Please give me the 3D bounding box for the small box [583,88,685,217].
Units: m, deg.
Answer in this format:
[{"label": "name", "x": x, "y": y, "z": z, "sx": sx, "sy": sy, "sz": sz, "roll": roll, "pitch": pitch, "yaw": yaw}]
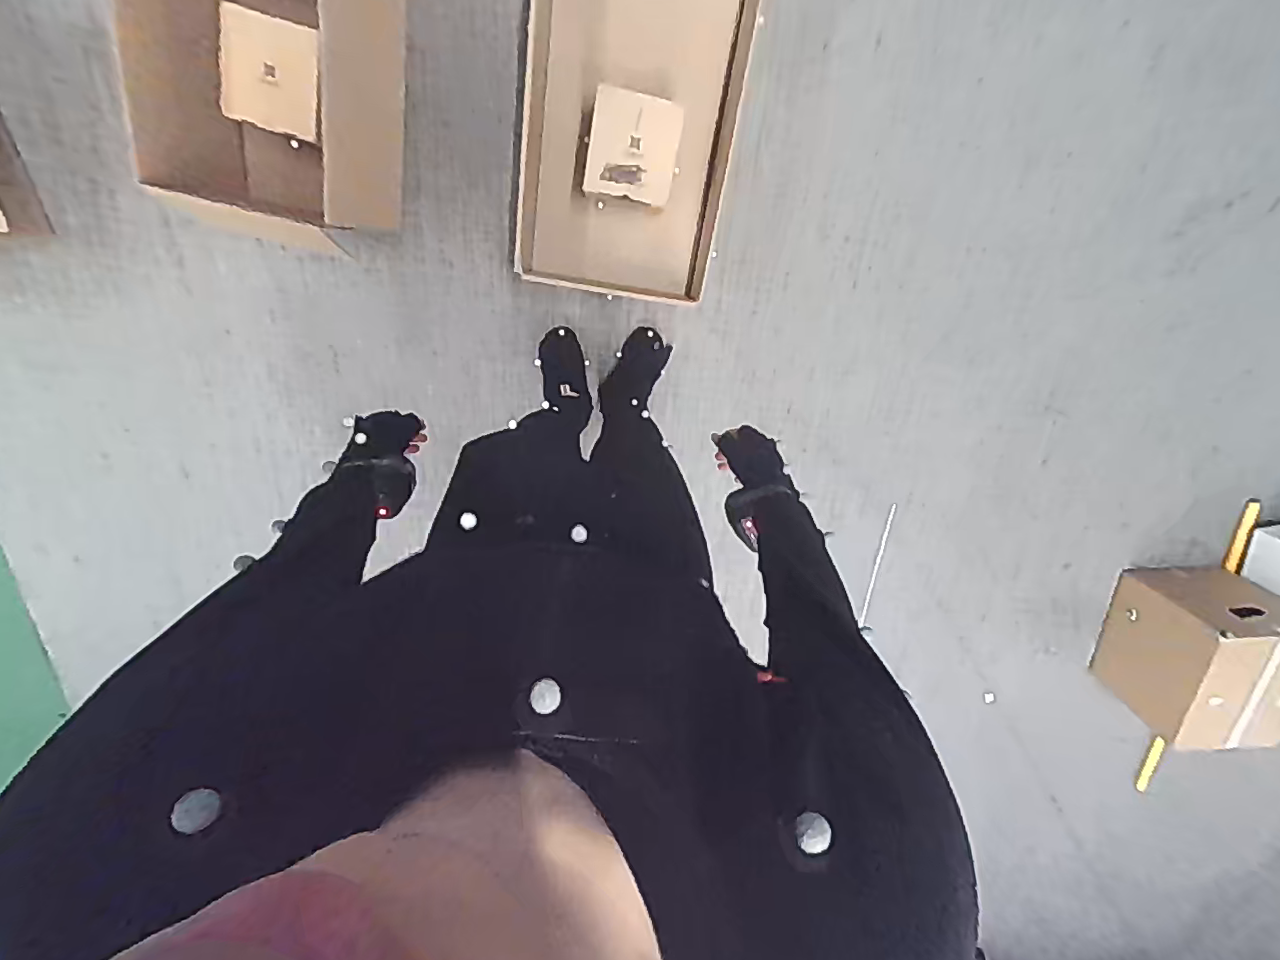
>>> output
[{"label": "small box", "x": -0.016, "y": -0.639, "z": 1.082, "sx": 0.168, "sy": 0.176, "sz": 0.179, "roll": 10, "pitch": 110, "yaw": -7}]
